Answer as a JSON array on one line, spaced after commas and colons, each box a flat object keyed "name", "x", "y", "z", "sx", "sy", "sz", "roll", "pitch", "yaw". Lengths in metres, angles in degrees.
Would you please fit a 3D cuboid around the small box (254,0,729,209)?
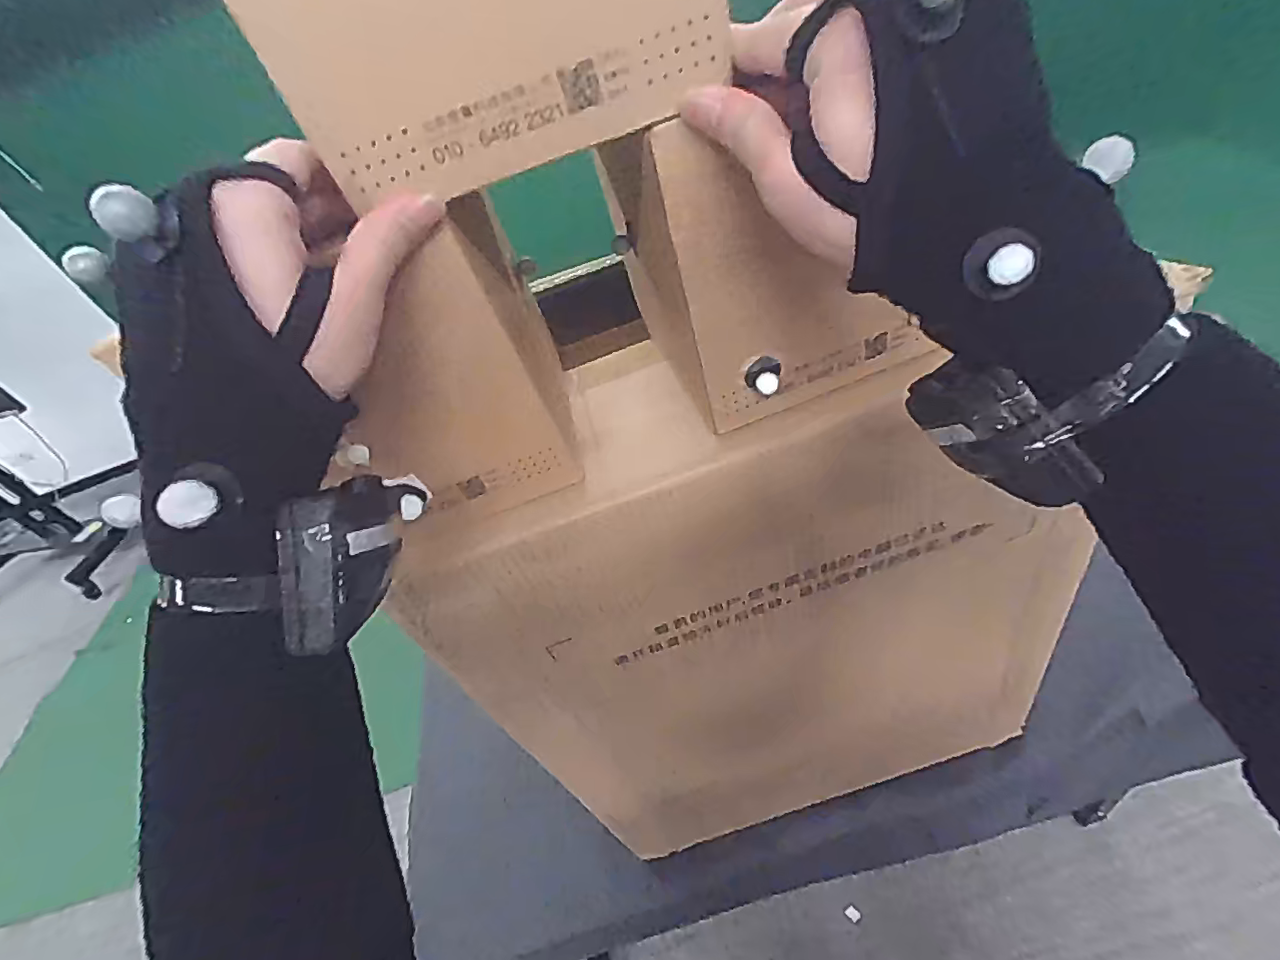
[{"name": "small box", "x": -0.073, "y": -0.241, "z": 0.235, "sx": 0.168, "sy": 0.176, "sz": 0.179, "roll": -19, "pitch": 41, "yaw": 2}]

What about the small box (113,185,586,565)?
[{"name": "small box", "x": -0.148, "y": -0.079, "z": 0.345, "sx": 0.168, "sy": 0.176, "sz": 0.179, "roll": -22, "pitch": 42, "yaw": 2}]

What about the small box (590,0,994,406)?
[{"name": "small box", "x": 0.077, "y": -0.167, "z": 0.342, "sx": 0.168, "sy": 0.176, "sz": 0.179, "roll": -22, "pitch": 40, "yaw": -2}]
